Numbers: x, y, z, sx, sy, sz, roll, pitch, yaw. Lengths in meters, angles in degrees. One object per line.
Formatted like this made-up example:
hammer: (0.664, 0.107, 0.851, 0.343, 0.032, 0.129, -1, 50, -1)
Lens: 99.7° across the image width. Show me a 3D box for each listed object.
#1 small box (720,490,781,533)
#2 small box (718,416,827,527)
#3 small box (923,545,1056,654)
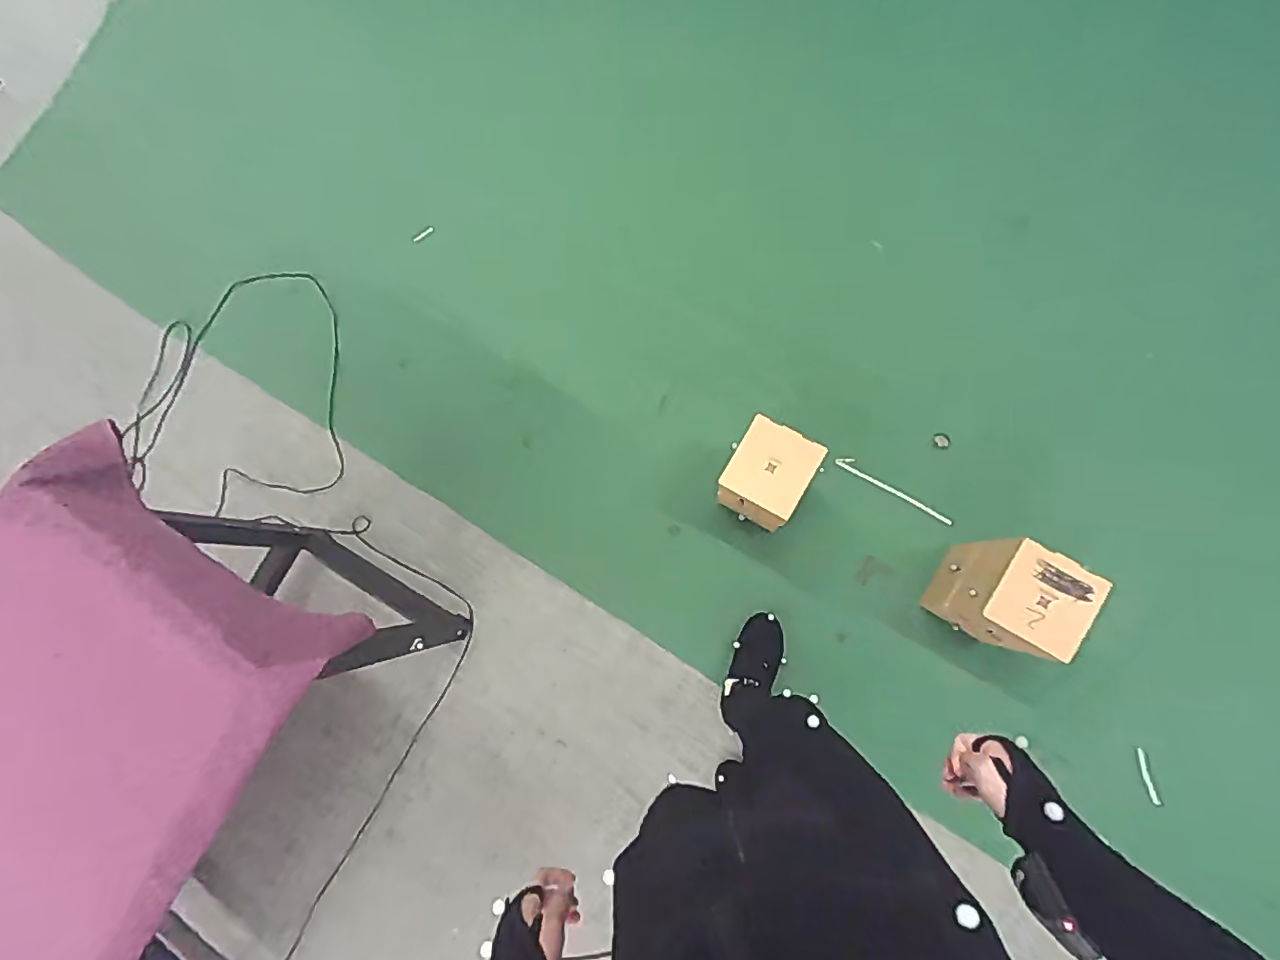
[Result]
small box: (0.314, 0.017, 1.360, 0.168, 0.176, 0.179, 30, 87, 13)
small box: (0.290, -0.010, 1.203, 0.168, 0.176, 0.179, 30, 85, 14)
small box: (0.787, 0.267, 1.241, 0.168, 0.176, 0.179, 32, 87, 13)
